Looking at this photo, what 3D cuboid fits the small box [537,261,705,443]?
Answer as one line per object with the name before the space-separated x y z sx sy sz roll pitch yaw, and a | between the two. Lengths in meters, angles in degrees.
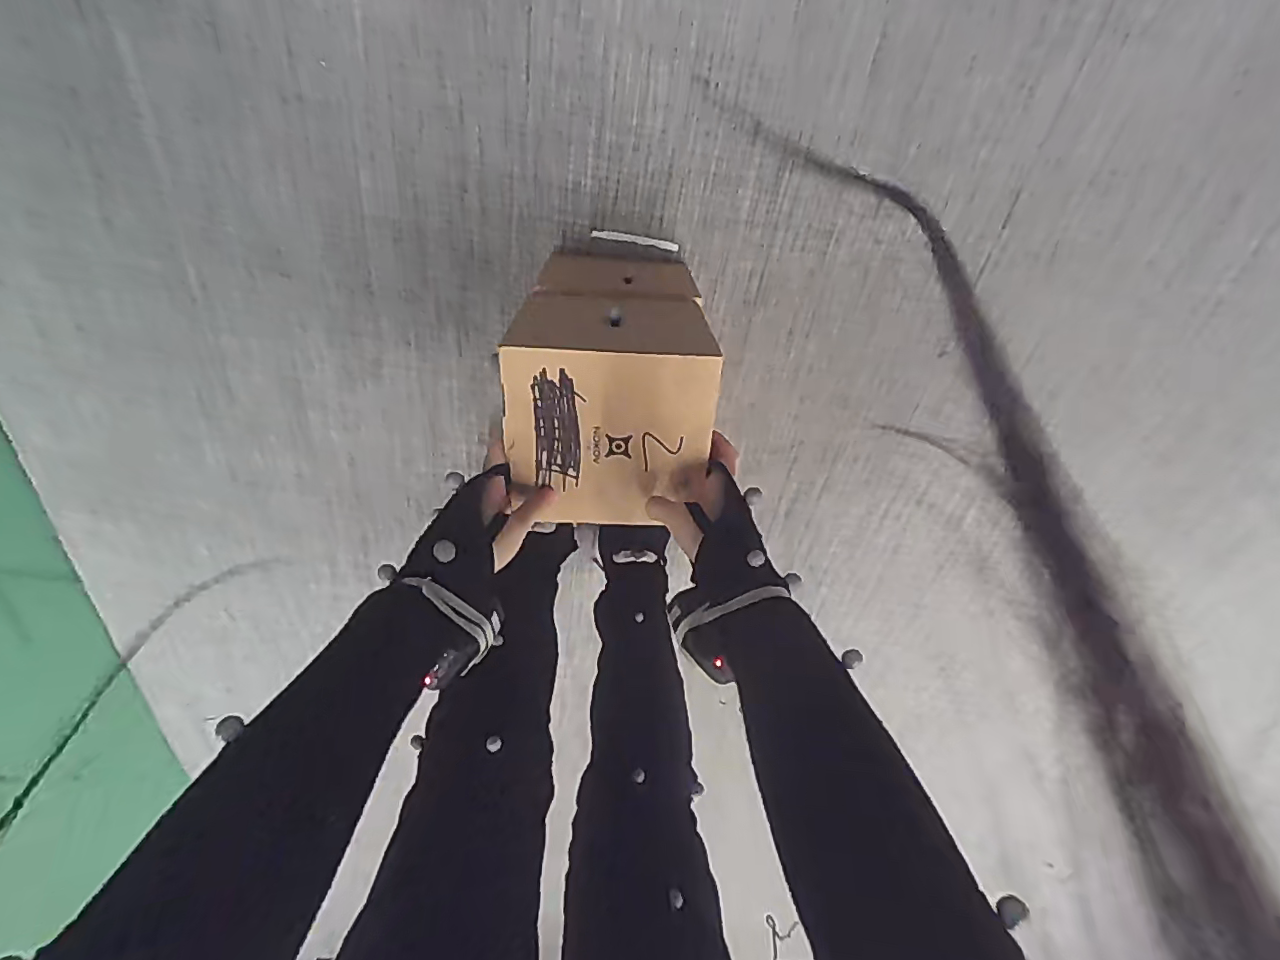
small box | -0.028 -0.161 0.660 0.179 0.176 0.168 4 123 -4
